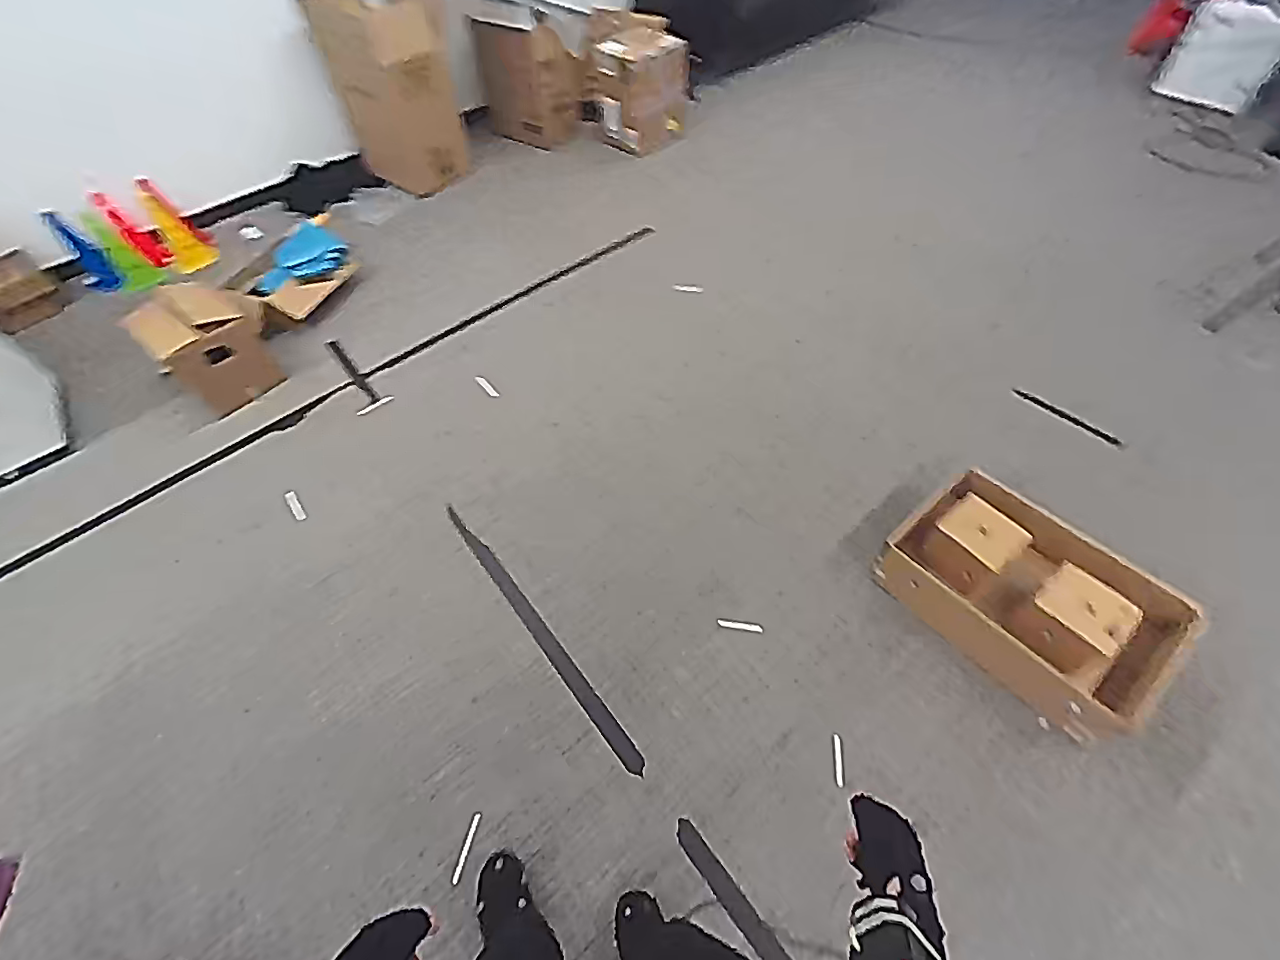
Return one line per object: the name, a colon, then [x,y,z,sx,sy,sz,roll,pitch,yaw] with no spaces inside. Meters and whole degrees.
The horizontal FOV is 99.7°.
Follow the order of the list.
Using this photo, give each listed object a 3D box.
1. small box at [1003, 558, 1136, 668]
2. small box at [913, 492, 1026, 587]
small box: [1.061,0.337,1.353,0.168,0.176,0.179,-37,57,-19]
small box: [0.897,0.173,1.487,0.168,0.176,0.179,-34,59,-19]
